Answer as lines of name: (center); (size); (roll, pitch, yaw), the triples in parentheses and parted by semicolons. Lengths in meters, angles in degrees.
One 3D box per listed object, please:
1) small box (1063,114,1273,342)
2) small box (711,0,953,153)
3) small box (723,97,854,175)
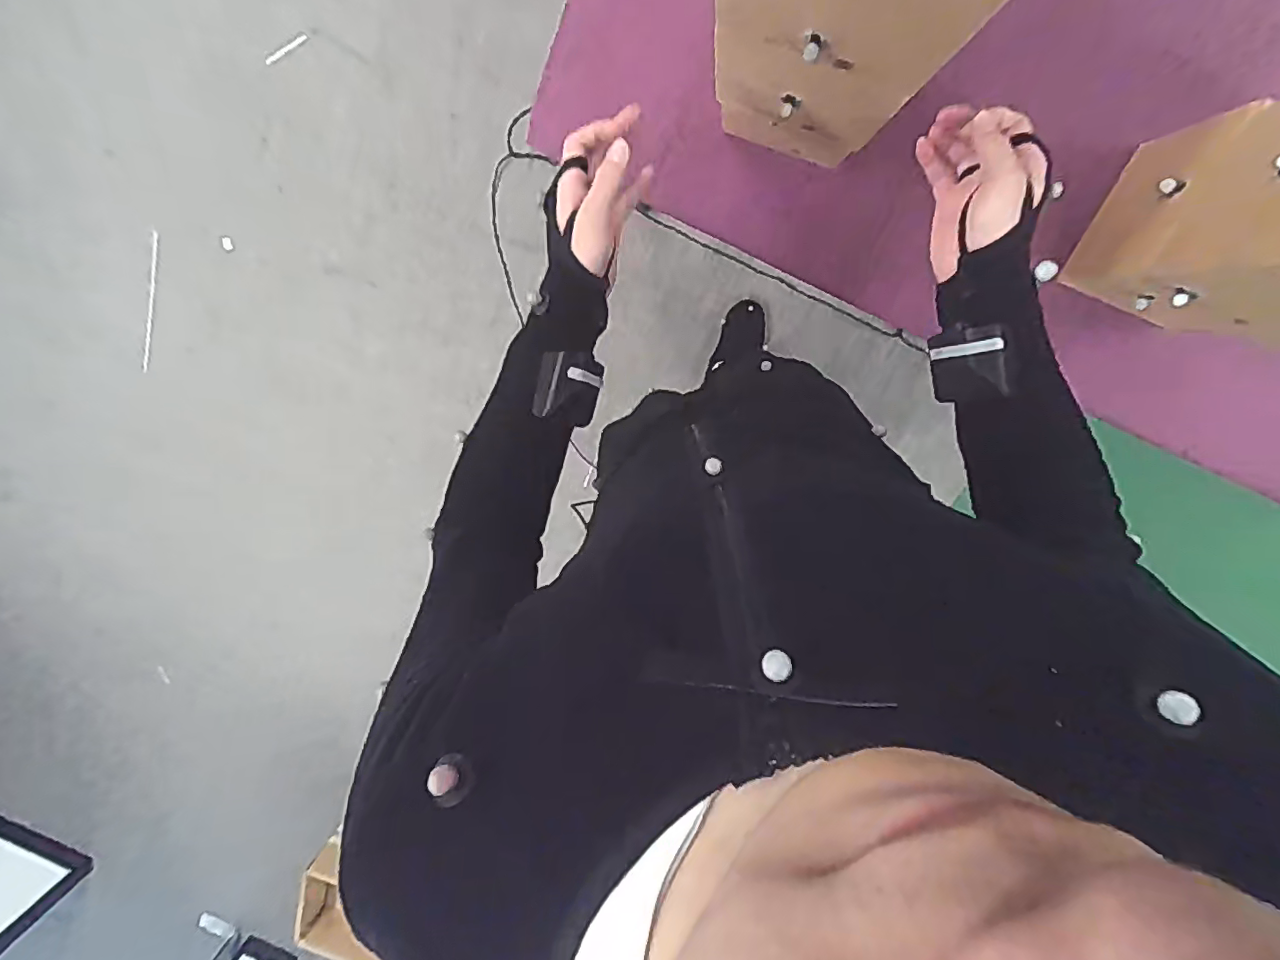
small box: (0.648, -0.272, 0.627); (0.168, 0.176, 0.179); (24, 108, 0)
small box: (0.171, -0.418, 0.471); (0.168, 0.176, 0.179); (21, 109, 0)
small box: (0.198, -0.485, 0.621); (0.168, 0.176, 0.179); (20, 109, 1)
